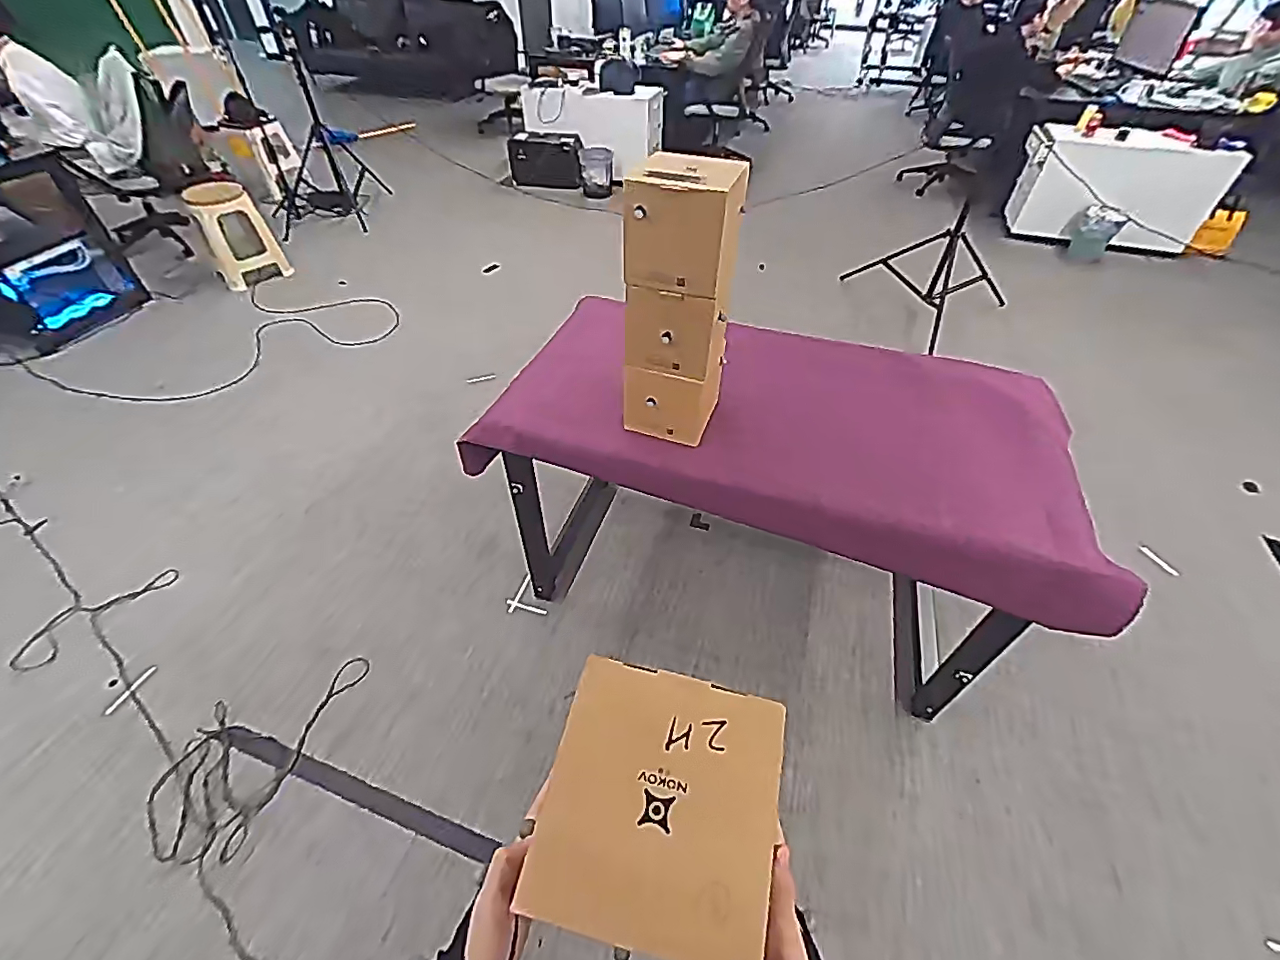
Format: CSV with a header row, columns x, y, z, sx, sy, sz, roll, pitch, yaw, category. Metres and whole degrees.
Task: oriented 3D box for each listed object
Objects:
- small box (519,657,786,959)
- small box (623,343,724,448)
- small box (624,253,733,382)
x,y,z,sx,sy,sz,roll,pitch,yaw,category
0.018,0.279,0.459,0.168,0.176,0.179,11,55,8,small box
0.072,-0.194,1.158,0.168,0.176,0.179,15,47,13,small box
0.075,-0.313,1.046,0.168,0.176,0.179,14,47,11,small box
